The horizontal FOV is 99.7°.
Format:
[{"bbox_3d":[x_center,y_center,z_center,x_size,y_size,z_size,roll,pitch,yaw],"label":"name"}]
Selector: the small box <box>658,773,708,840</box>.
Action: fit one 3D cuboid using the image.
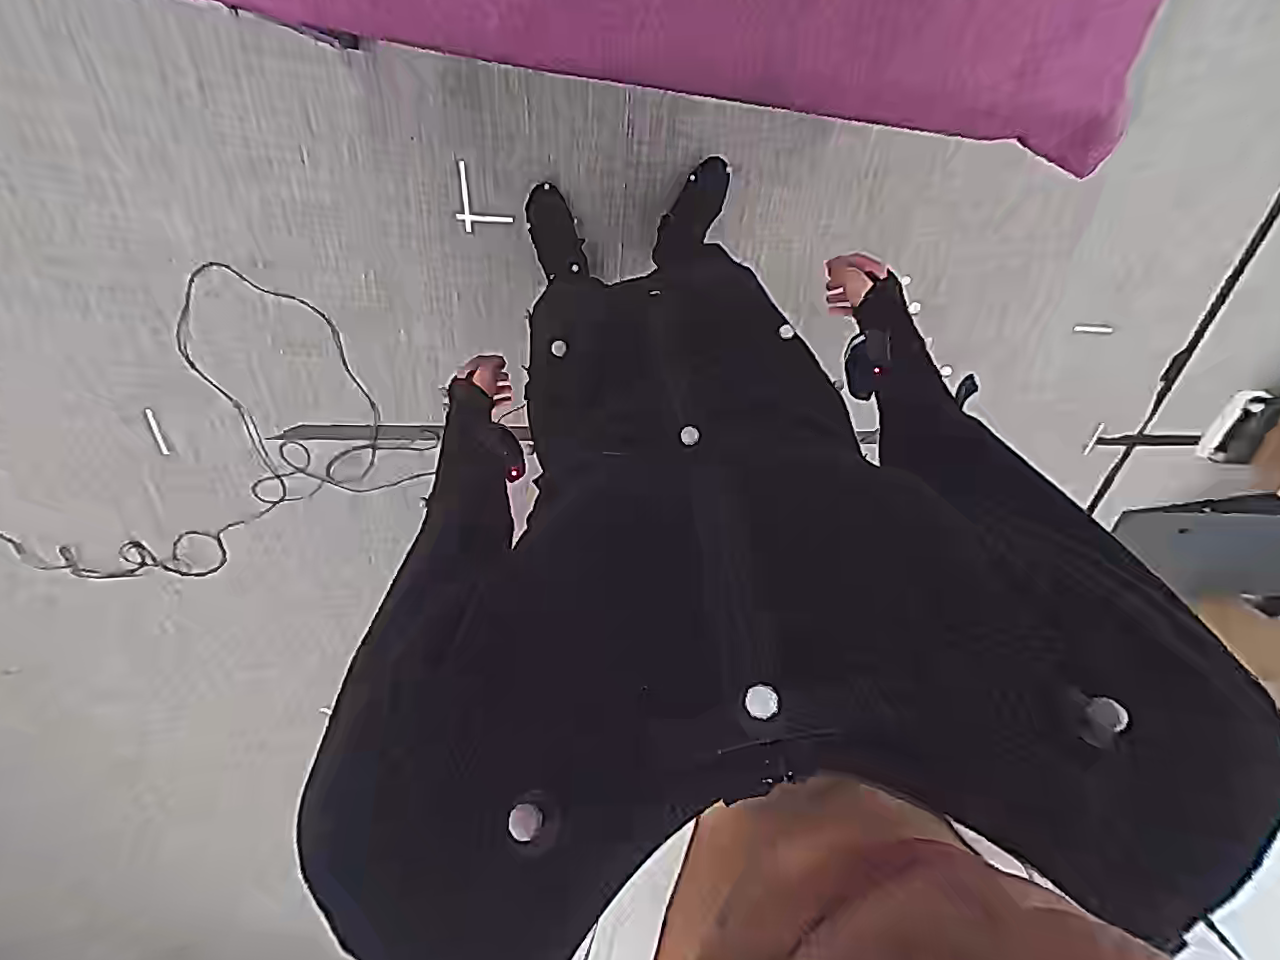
[{"bbox_3d":[0.174,1.359,2.256,0.168,0.176,0.179,-3,122,-11],"label":"small box"}]
